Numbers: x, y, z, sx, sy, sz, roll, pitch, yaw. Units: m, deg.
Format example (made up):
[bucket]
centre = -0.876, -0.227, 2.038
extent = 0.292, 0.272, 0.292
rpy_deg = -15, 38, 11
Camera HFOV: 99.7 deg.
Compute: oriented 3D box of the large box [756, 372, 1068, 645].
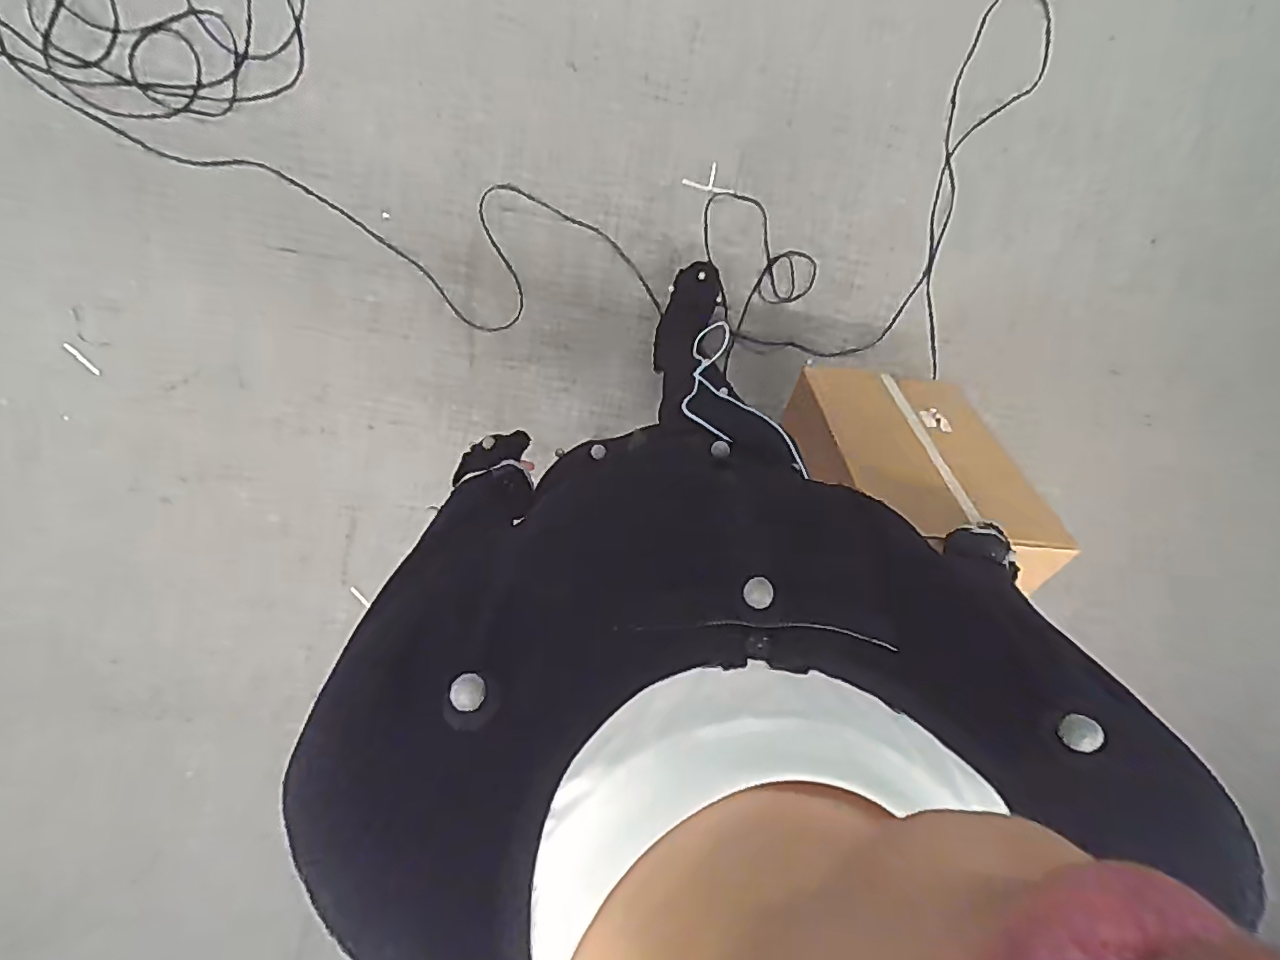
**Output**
[large box]
centre = 0.437, 0.051, 0.996
extent = 0.320, 0.408, 0.320
rpy_deg = 5, 134, -8
